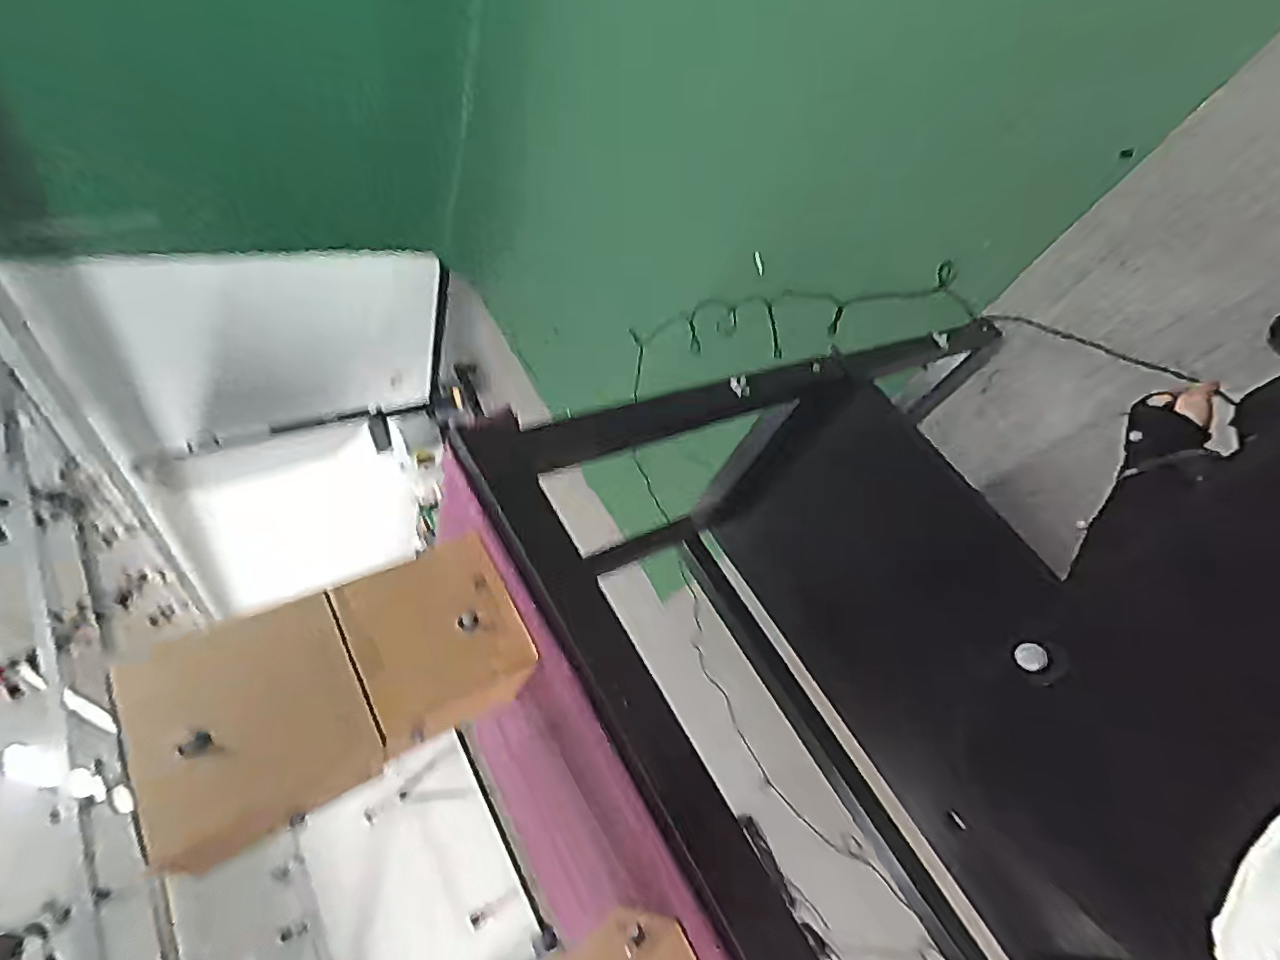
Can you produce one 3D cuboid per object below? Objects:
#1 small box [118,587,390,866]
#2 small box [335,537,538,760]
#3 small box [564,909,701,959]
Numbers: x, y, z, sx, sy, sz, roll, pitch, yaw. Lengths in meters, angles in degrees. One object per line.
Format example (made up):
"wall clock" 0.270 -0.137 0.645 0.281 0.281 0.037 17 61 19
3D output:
"small box" -0.361 0.237 0.534 0.179 0.176 0.168 56 141 21
"small box" -0.239 0.193 0.637 0.168 0.176 0.179 56 142 21
"small box" -0.012 0.521 0.472 0.179 0.176 0.168 56 144 19
